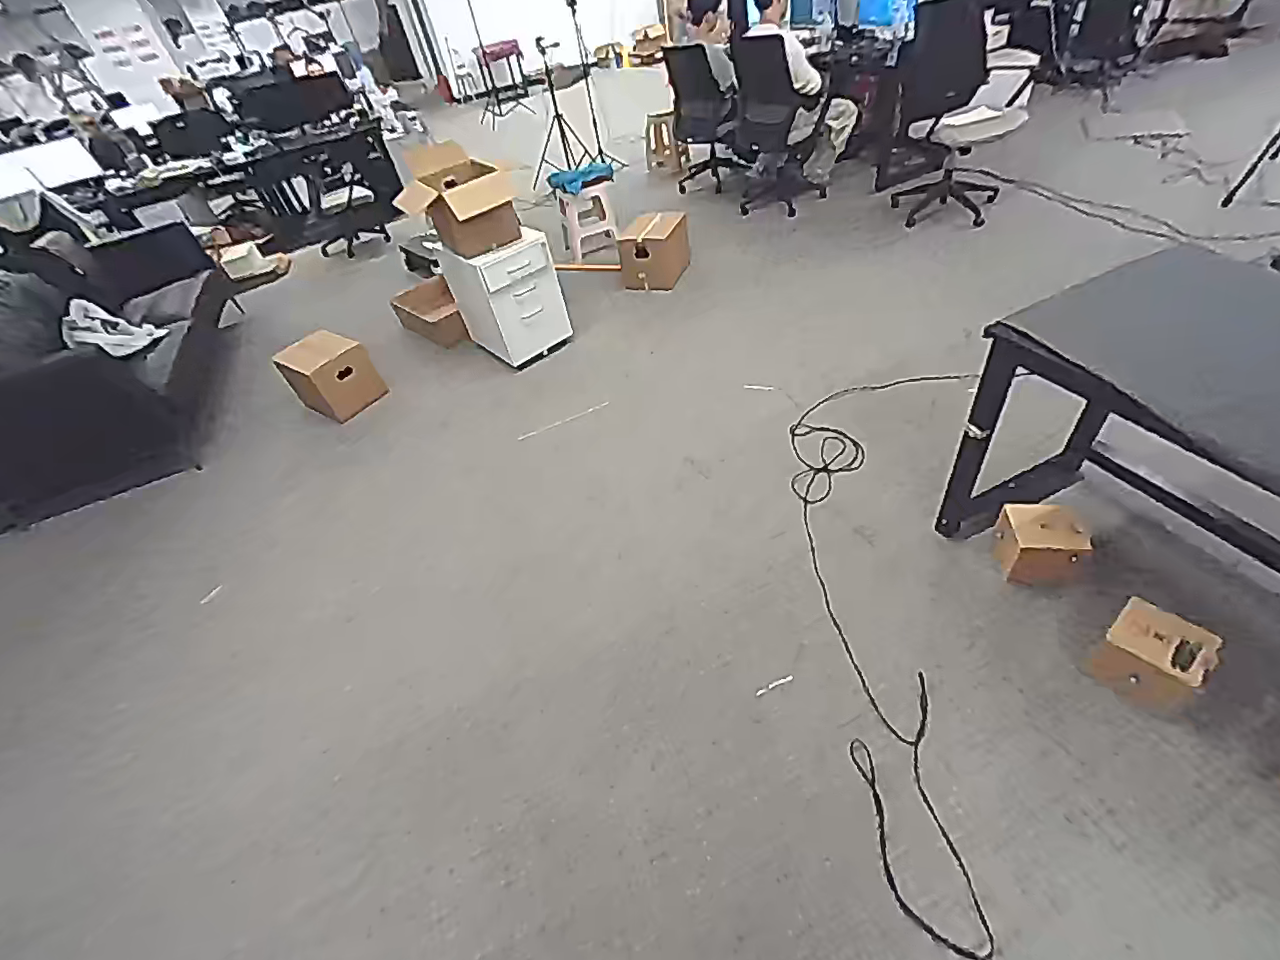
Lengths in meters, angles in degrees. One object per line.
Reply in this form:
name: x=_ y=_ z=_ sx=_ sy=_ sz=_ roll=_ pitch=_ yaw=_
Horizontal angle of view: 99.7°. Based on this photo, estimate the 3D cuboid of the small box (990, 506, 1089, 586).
small box: x=1.152 y=0.194 z=1.580 sx=0.179 sy=0.176 sz=0.168 roll=1 pitch=44 yaw=13
